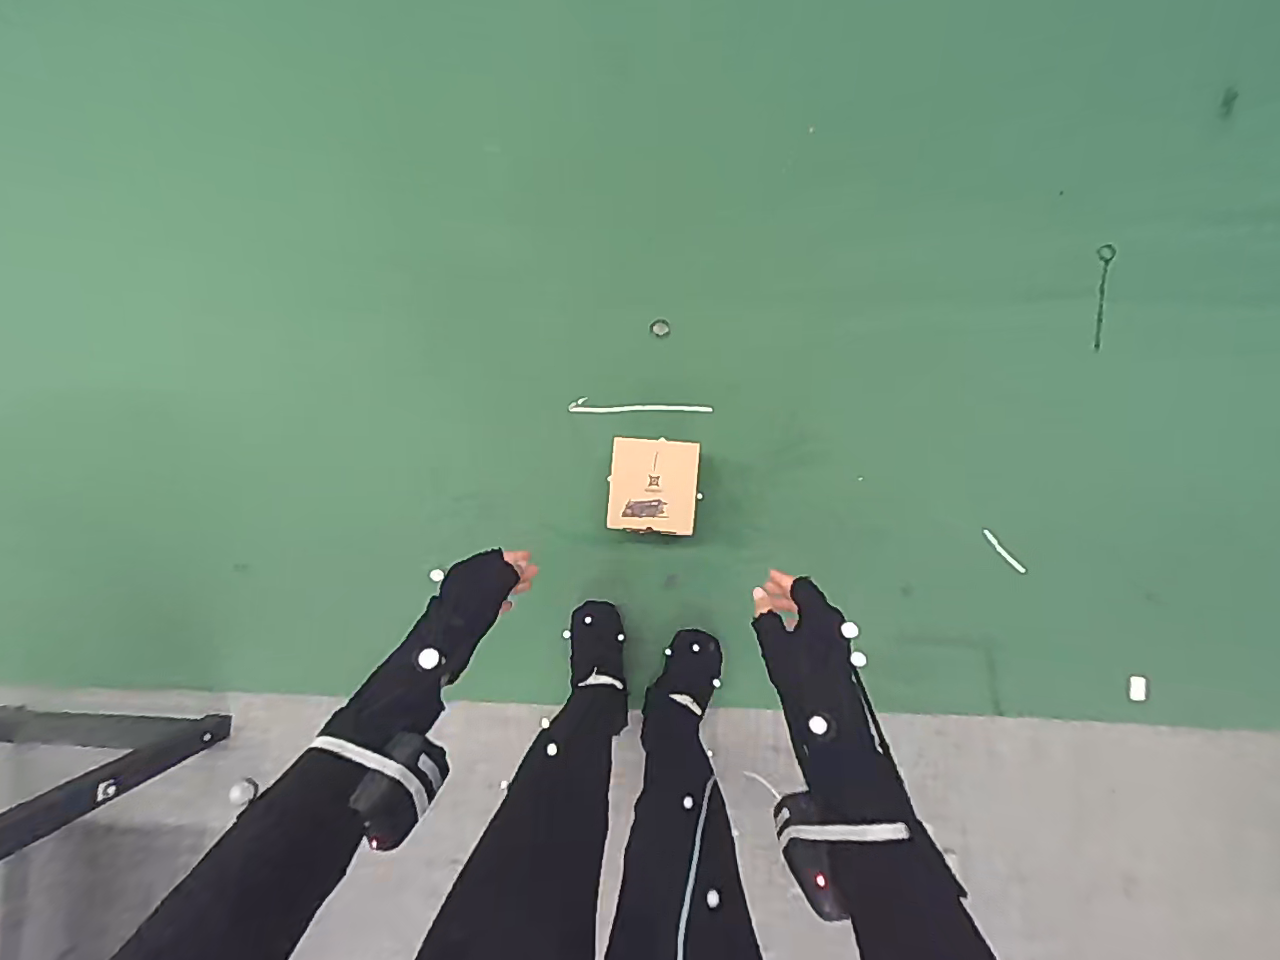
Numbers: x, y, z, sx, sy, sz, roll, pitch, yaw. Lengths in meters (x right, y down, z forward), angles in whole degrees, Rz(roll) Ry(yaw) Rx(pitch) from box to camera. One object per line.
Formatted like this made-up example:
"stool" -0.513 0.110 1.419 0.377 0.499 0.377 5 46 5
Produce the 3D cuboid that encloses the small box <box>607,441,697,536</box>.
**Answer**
"small box" 0.029 0.016 1.096 0.168 0.176 0.179 2 89 4
